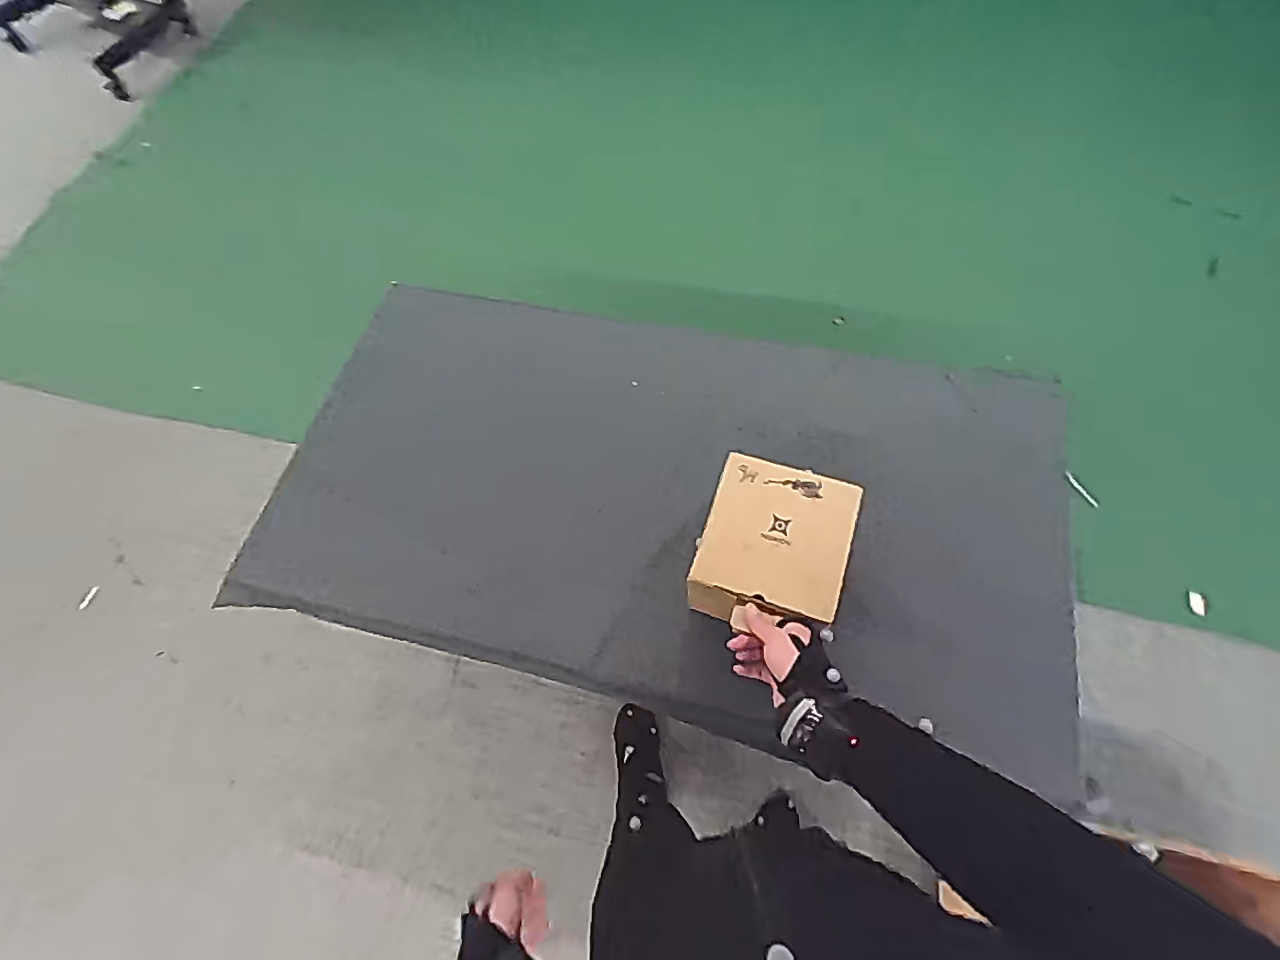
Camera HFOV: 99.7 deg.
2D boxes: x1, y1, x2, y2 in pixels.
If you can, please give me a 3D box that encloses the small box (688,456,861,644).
[{"bbox_3d":[0.169,0.099,0.706,0.168,0.176,0.179,16,68,13],"label":"small box"}]
